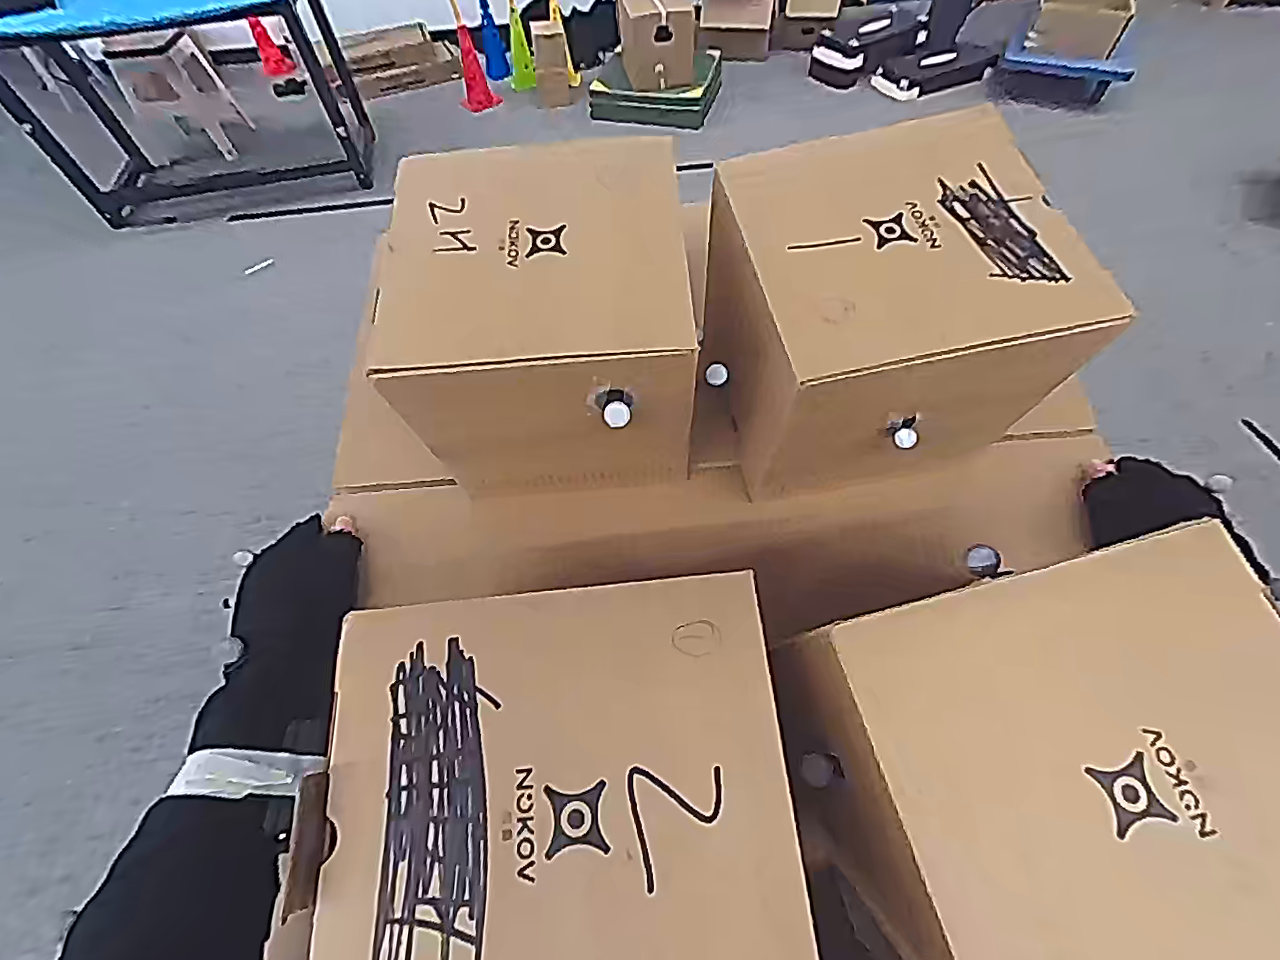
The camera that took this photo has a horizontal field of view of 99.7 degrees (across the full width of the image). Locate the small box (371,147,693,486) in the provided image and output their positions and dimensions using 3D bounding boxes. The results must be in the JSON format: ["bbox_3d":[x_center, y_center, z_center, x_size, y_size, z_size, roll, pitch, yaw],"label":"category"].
[{"bbox_3d":[-0.058,-0.104,0.393,0.179,0.176,0.168,-3,66,2],"label":"small box"}]
